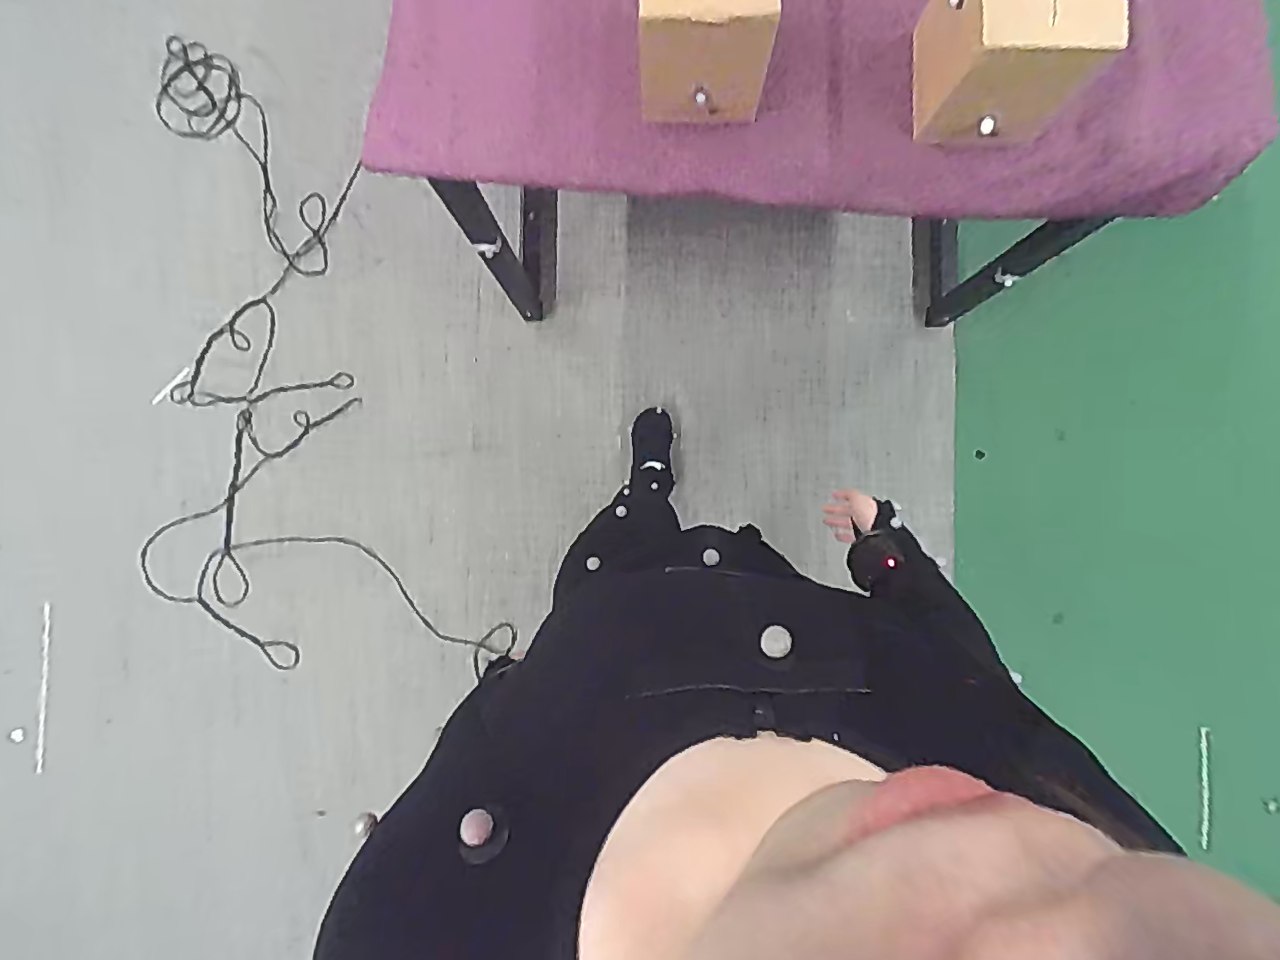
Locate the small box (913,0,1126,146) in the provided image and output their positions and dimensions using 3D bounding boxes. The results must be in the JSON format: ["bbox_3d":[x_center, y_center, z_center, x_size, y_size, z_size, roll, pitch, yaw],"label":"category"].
[{"bbox_3d":[0.476,-0.576,0.703,0.168,0.176,0.179,1,87,1],"label":"small box"}]

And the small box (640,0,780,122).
[{"bbox_3d":[0.083,-0.615,0.711,0.168,0.176,0.179,0,86,2],"label":"small box"}]
